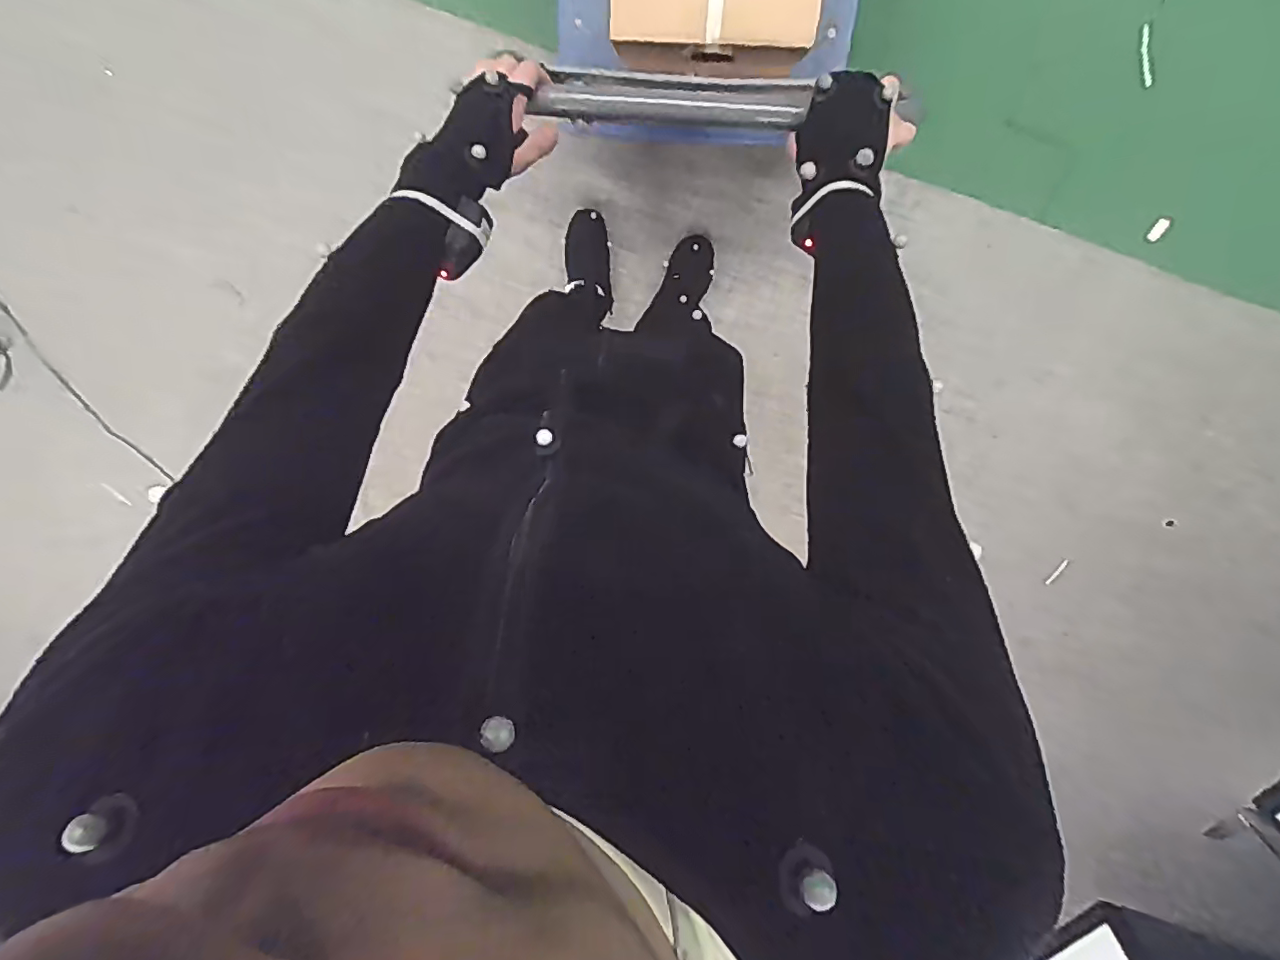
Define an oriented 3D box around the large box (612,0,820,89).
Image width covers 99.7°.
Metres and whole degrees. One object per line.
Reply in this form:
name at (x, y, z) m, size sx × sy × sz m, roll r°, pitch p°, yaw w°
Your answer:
large box at (0.132, -0.906, 0.880) m, size 0.320 × 0.320 × 0.408 m, roll 5°, pitch 117°, yaw 3°
